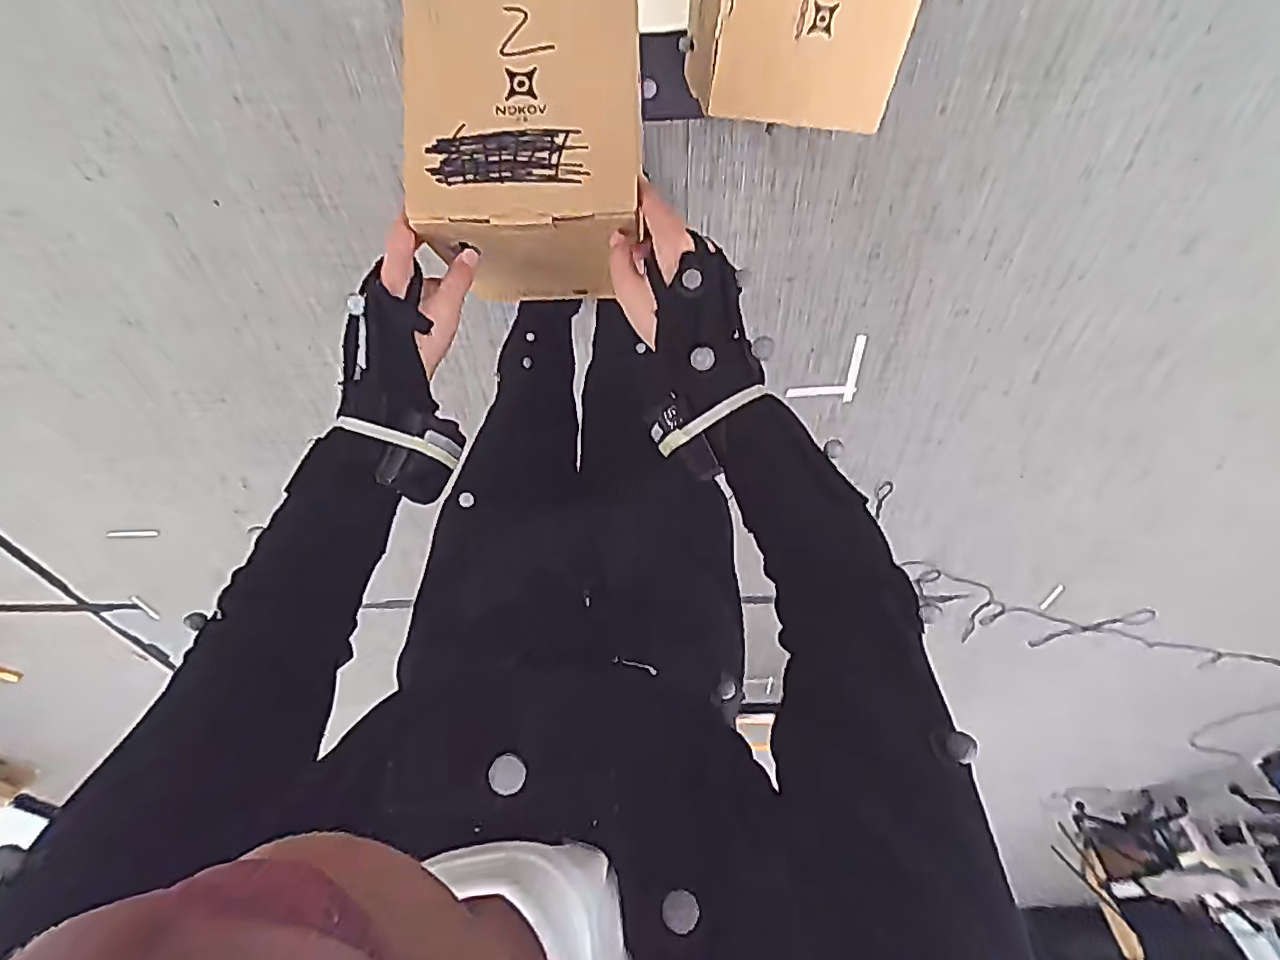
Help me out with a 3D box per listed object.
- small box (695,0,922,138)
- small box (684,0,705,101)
[{"bbox_3d":[0.157,-0.463,0.537,0.179,0.176,0.168,5,134,-3],"label":"small box"},{"bbox_3d":[0.145,-0.576,0.655,0.168,0.176,0.179,1,134,-2],"label":"small box"}]
